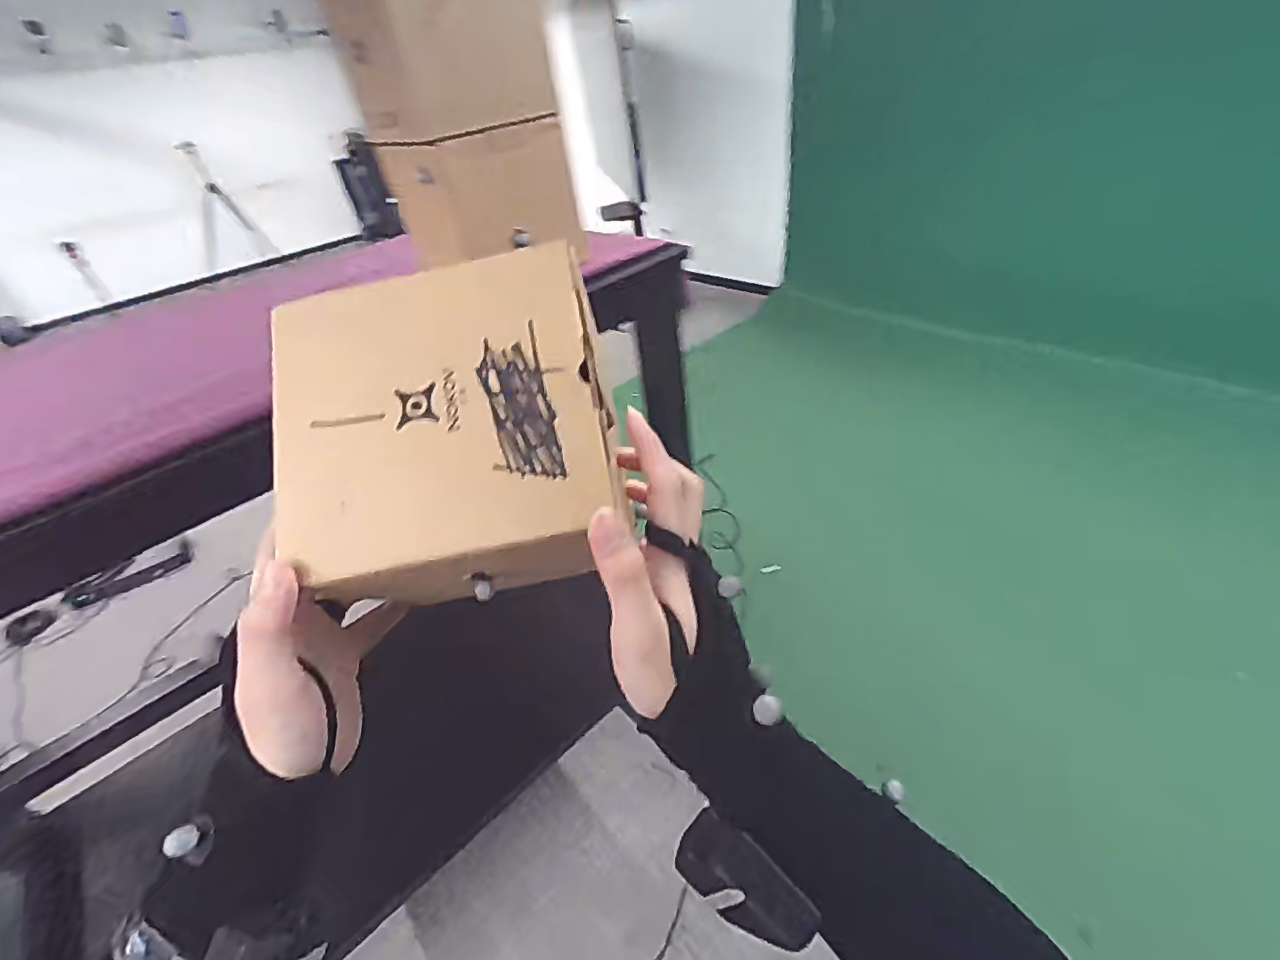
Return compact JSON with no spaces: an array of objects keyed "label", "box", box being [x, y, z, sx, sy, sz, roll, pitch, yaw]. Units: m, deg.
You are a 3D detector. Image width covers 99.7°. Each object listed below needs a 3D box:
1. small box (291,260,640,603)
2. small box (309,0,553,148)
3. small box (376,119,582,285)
[{"label":"small box","box":[-0.098,-0.014,0.368,0.179,0.176,0.168,-11,74,2]},{"label":"small box","box":[-0.219,-0.468,0.581,0.179,0.176,0.168,-34,45,-28]},{"label":"small box","box":[-0.198,-0.345,0.689,0.168,0.176,0.179,-34,44,-28]}]
